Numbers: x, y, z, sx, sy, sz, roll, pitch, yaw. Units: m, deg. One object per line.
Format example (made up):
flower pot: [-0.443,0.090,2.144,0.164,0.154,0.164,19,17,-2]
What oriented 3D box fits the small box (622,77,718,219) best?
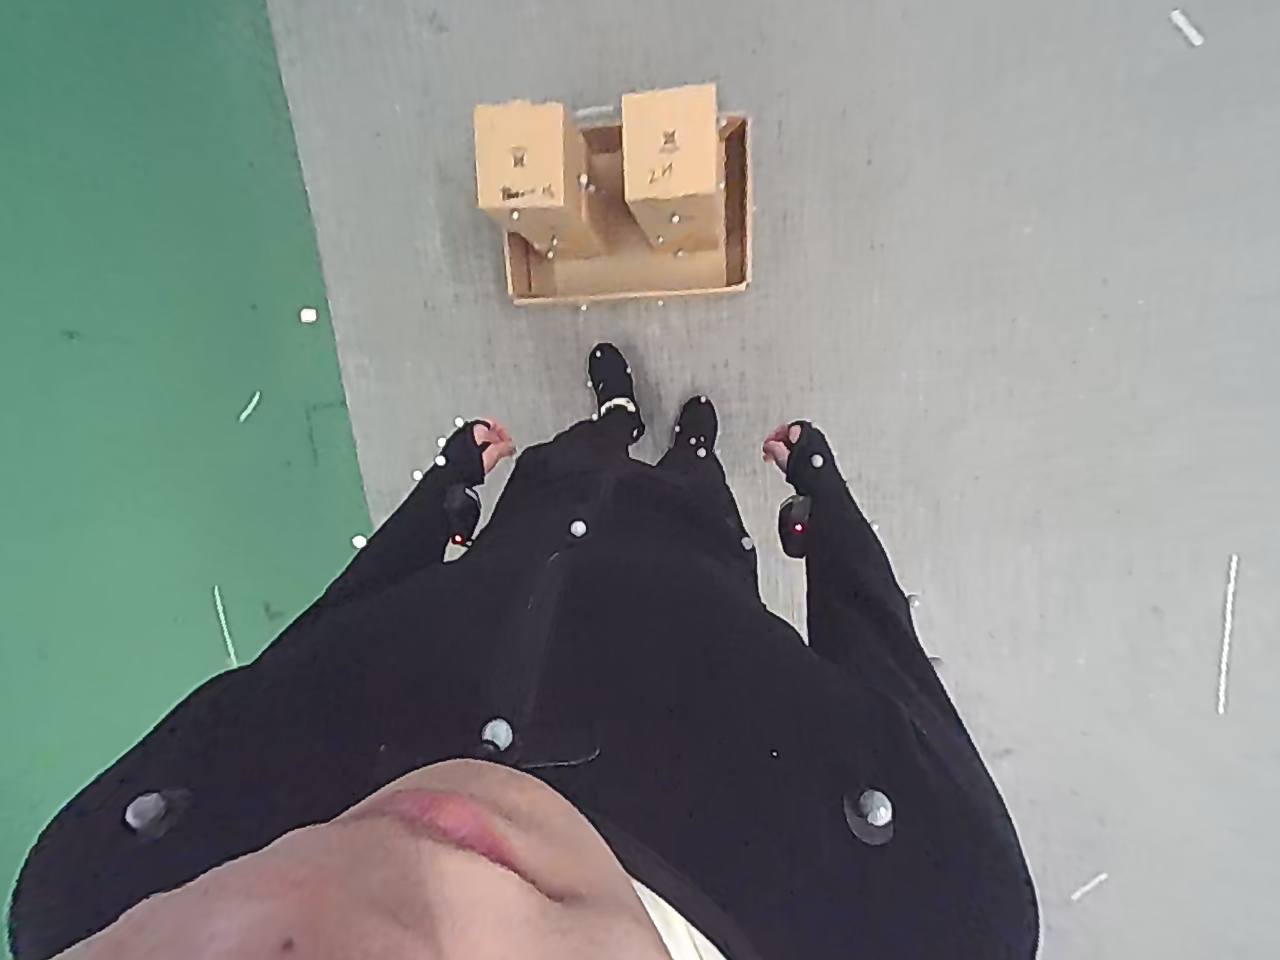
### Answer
small box: [0.060,-0.612,1.017,0.168,0.176,0.179,0,102,9]

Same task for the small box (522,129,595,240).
small box: [-0.195,-0.652,1.209,0.168,0.176,0.179,0,101,6]

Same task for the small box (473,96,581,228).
small box: [-0.213,-0.608,1.051,0.168,0.176,0.179,3,100,6]

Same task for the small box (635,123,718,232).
small box: [0.084,-0.648,1.176,0.168,0.176,0.179,2,101,8]
